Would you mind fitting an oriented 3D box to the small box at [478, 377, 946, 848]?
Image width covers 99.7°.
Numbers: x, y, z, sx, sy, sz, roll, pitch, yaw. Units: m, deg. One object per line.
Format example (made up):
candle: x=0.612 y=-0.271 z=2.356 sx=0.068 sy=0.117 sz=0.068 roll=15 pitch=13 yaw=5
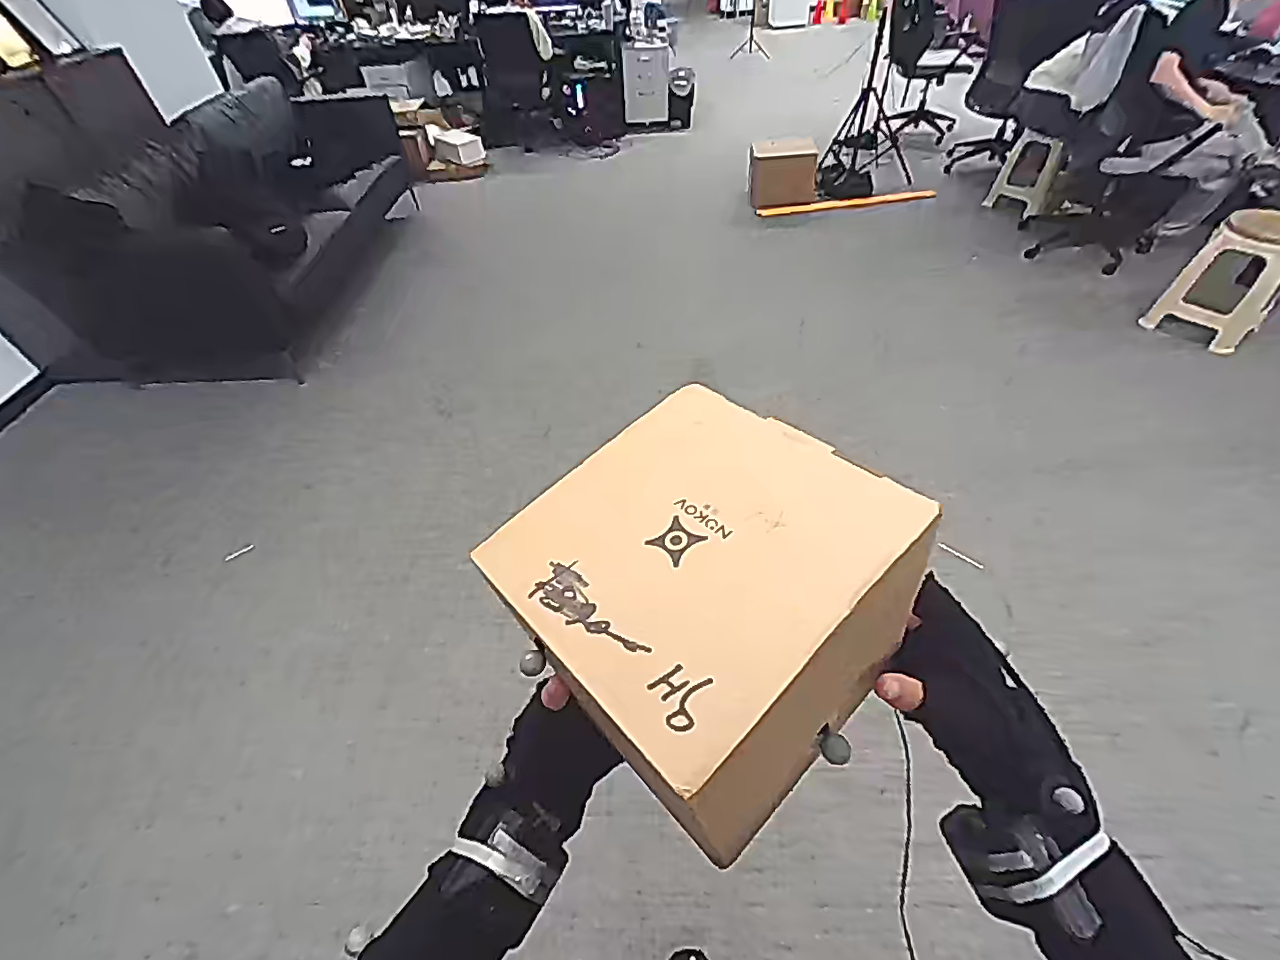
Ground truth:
small box: x=0.042 y=0.074 z=0.325 sx=0.179 sy=0.176 sz=0.168 roll=-38 pitch=50 yaw=-21
